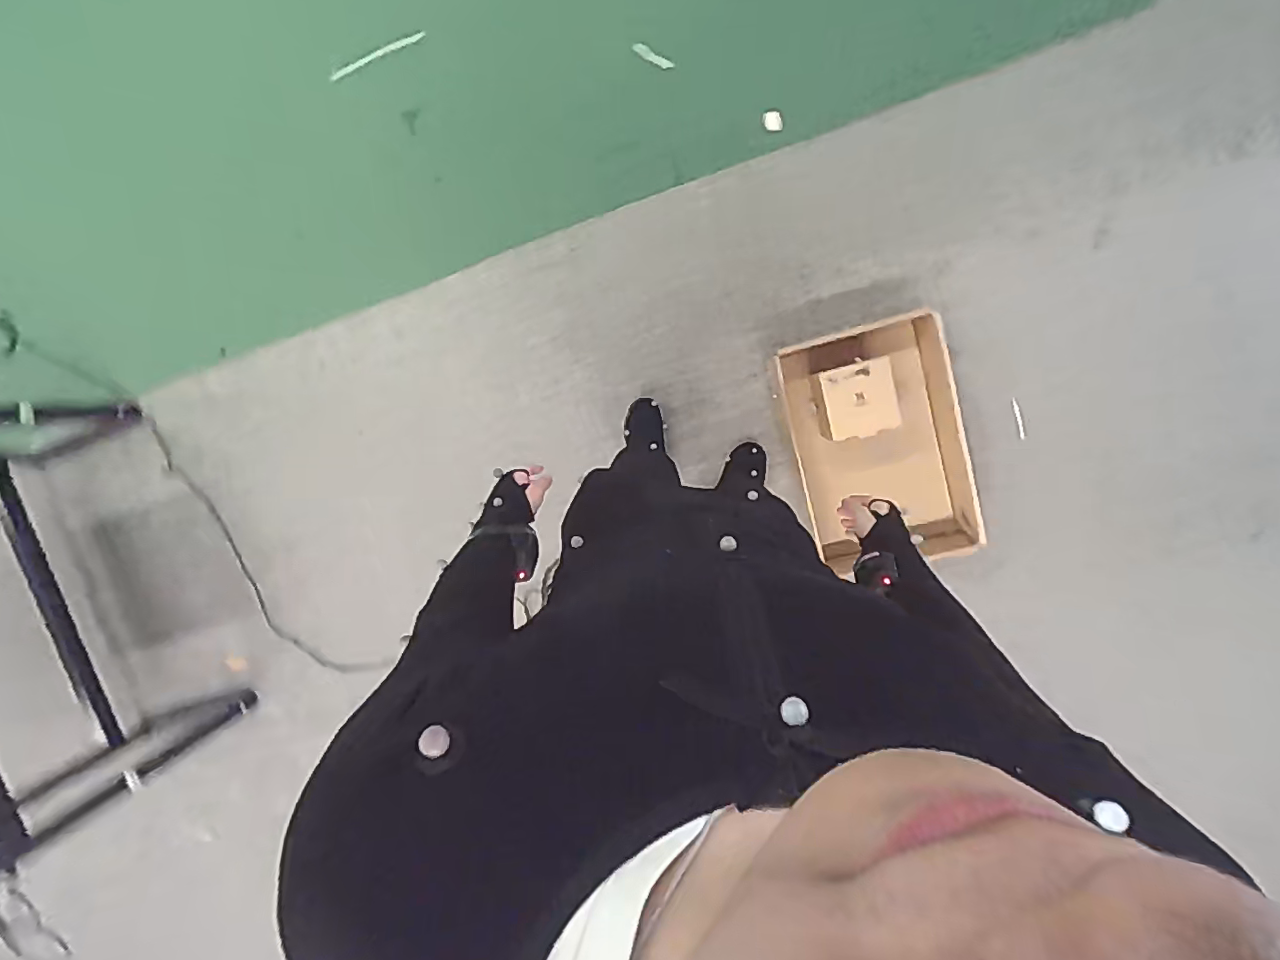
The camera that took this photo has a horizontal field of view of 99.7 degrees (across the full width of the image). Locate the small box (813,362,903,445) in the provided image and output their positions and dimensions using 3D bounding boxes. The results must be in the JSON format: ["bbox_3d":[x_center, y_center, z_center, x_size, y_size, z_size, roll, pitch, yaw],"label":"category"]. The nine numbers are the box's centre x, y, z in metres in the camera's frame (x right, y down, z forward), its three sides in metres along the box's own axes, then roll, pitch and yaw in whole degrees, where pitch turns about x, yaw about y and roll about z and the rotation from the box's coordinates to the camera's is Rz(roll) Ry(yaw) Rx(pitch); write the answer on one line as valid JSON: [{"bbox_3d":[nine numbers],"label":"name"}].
[{"bbox_3d":[0.552,-0.199,1.386,0.168,0.176,0.179,-13,98,10],"label":"small box"}]
